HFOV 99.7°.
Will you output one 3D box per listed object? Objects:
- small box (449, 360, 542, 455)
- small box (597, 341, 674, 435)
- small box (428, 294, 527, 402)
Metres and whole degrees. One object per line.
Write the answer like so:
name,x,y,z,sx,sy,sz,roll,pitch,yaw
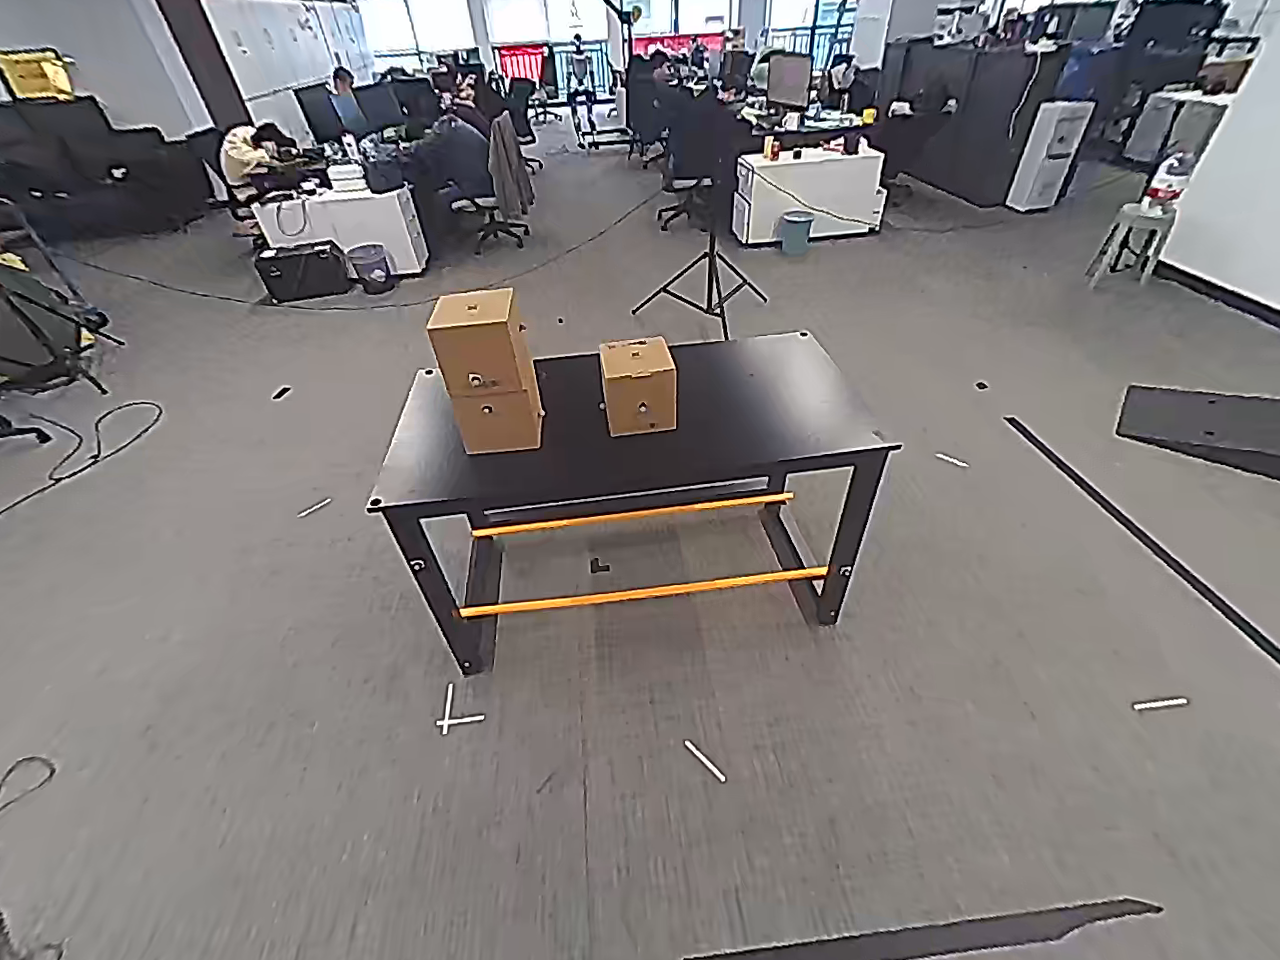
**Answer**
small box,-0.342,-0.174,1.315,0.179,0.176,0.168,-5,41,-3
small box,-0.010,-0.223,1.349,0.168,0.176,0.179,-8,41,-4
small box,-0.353,-0.296,1.208,0.168,0.176,0.179,-8,42,-2
